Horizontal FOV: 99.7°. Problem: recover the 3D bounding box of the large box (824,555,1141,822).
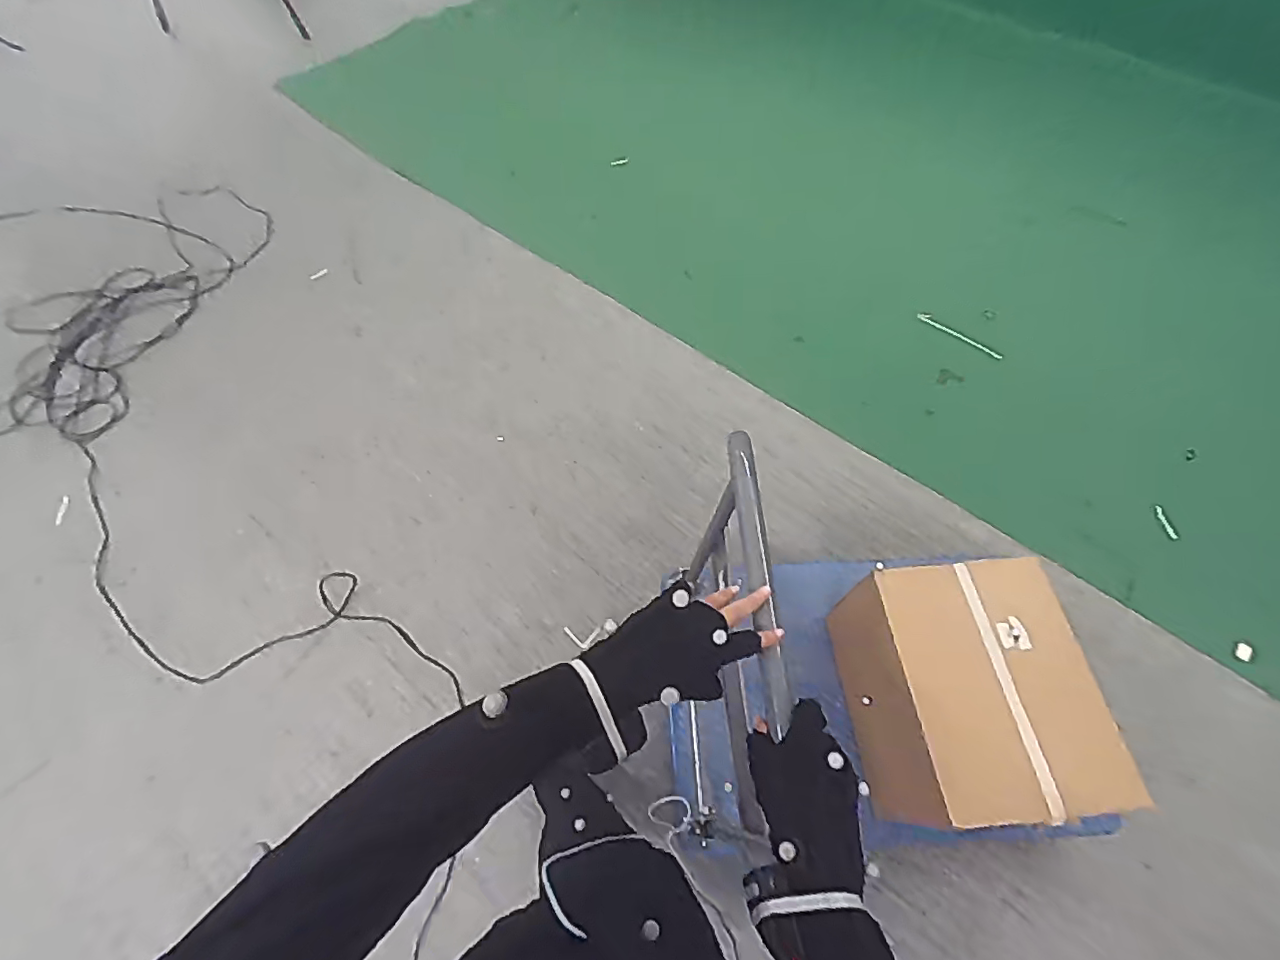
[{"bbox_3d":[0.590,0.400,1.036,0.320,0.320,0.408,-4,59,-3],"label":"large box"}]
